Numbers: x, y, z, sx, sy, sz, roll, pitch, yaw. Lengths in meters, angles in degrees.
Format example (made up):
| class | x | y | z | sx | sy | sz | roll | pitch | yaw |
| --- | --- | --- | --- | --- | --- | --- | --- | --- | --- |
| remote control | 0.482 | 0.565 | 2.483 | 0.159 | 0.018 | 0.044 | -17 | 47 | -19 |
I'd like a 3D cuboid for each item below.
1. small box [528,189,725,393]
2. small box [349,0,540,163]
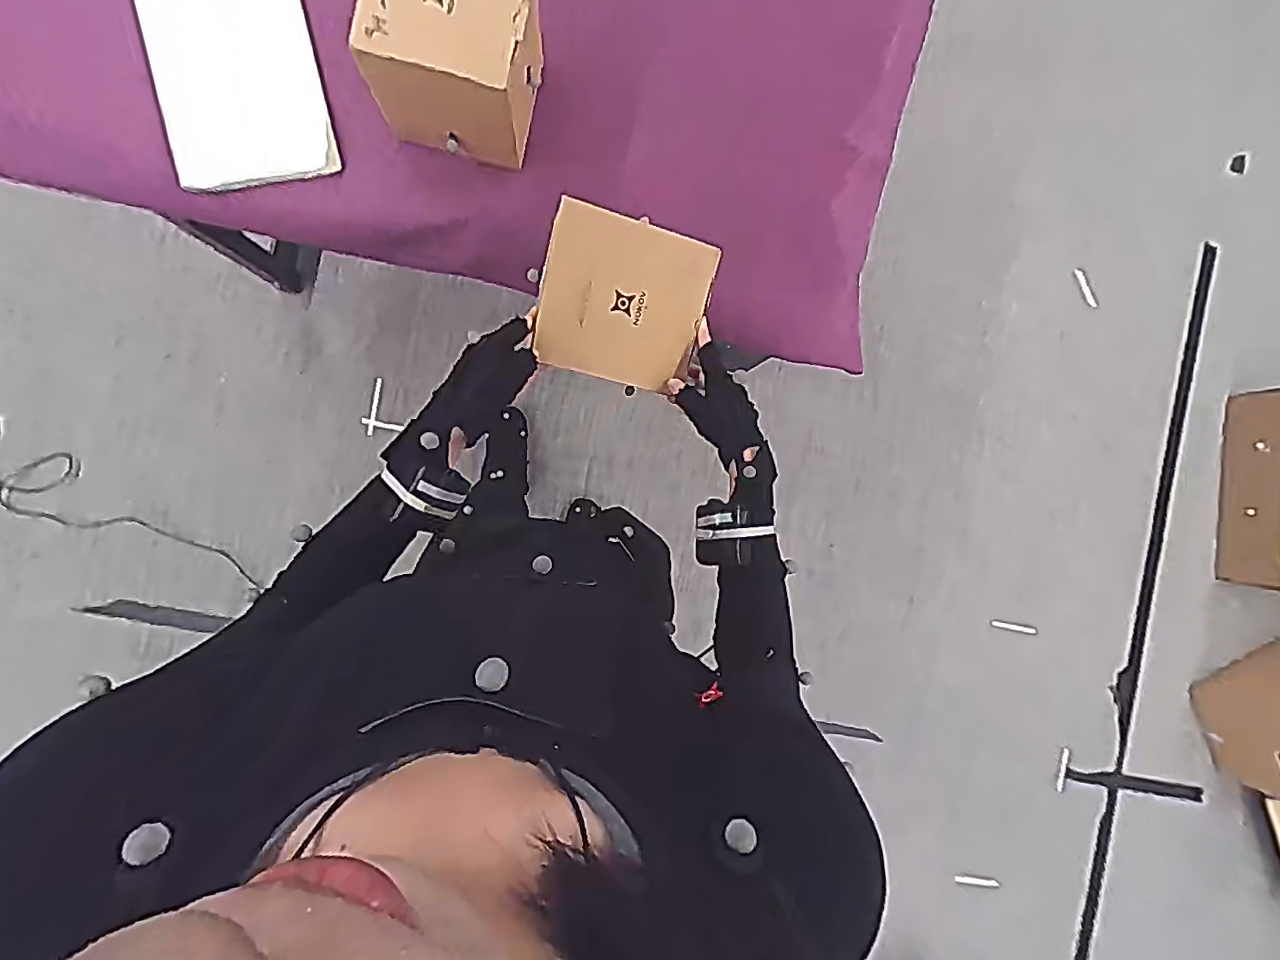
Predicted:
| class | x | y | z | sx | sy | sz | roll | pitch | yaw |
| --- | --- | --- | --- | --- | --- | --- | --- | --- | --- |
| small box | -0.029 | -0.211 | 0.636 | 0.179 | 0.176 | 0.168 | 12 | 102 | -15 |
| small box | -0.226 | -0.533 | 0.674 | 0.179 | 0.176 | 0.168 | 11 | 89 | -8 |
